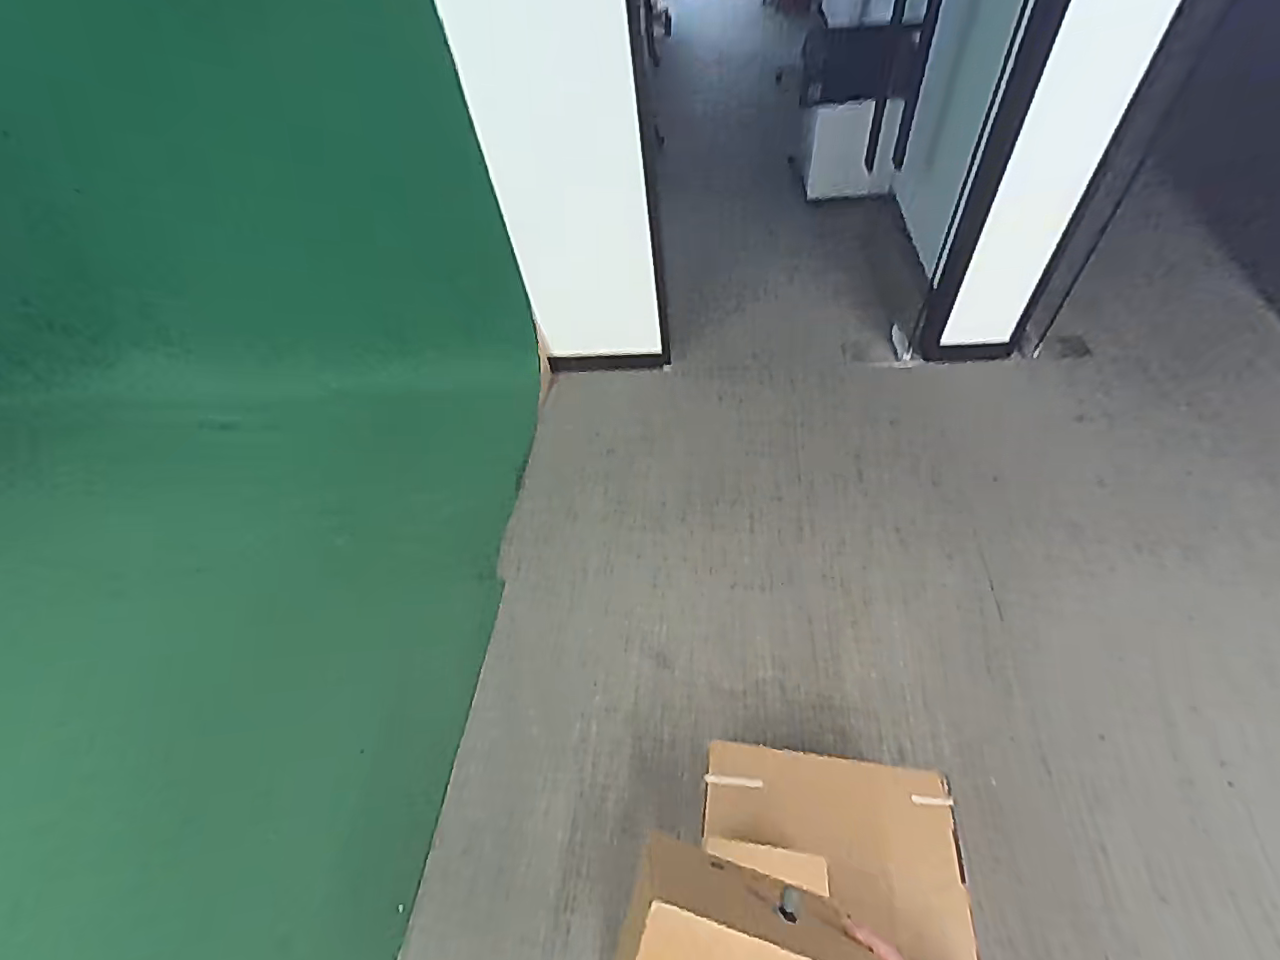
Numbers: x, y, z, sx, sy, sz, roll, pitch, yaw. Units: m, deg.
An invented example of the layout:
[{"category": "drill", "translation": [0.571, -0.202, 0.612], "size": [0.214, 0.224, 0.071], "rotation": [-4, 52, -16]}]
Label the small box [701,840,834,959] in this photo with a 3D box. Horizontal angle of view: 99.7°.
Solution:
[{"category": "small box", "translation": [0.175, 0.633, 0.757], "size": [0.168, 0.176, 0.179], "rotation": [3, 49, 11]}]
